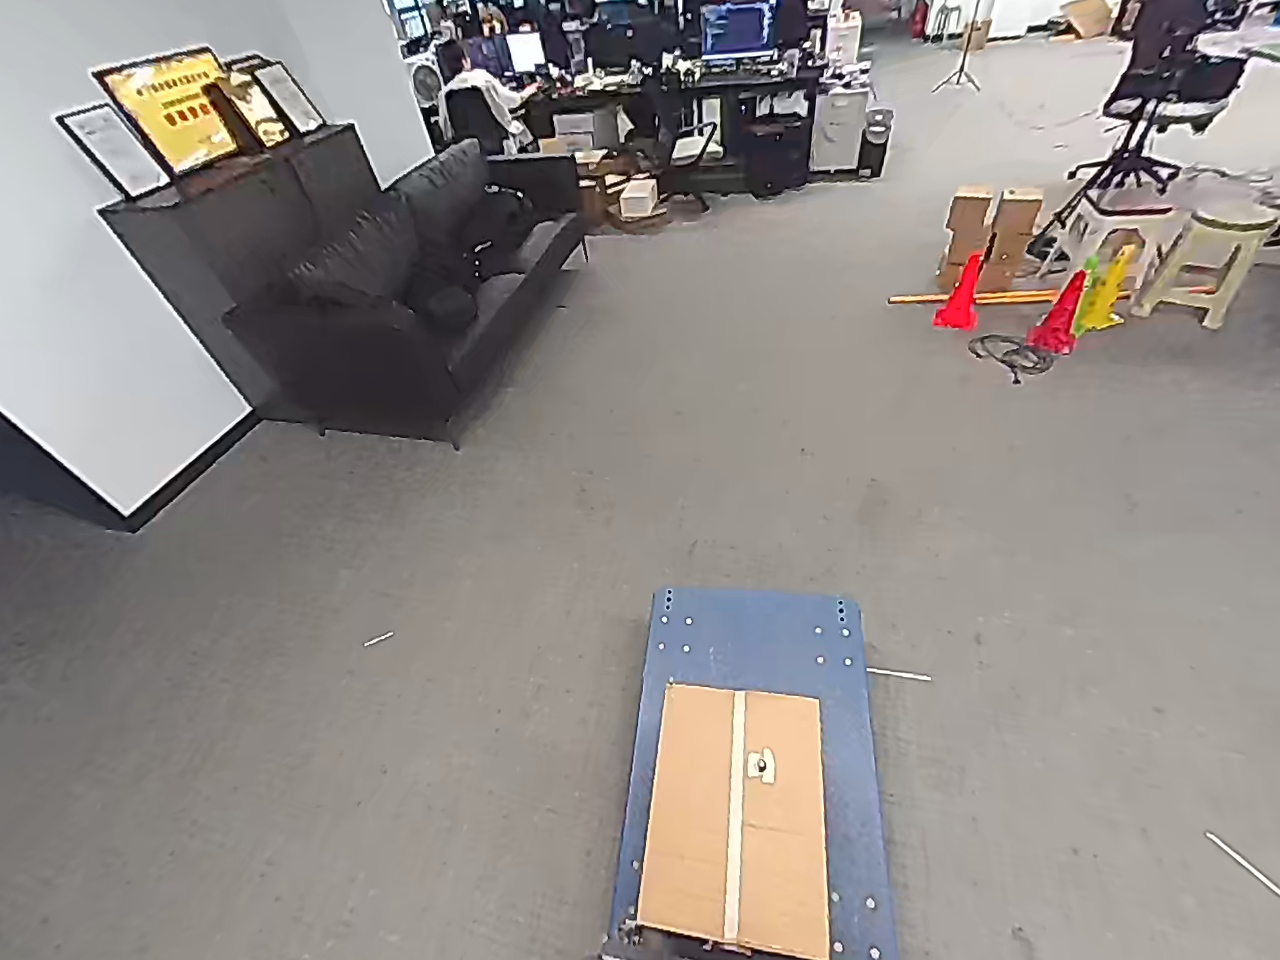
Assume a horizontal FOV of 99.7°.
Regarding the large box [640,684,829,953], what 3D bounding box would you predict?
[{"bbox_3d":[0.196,0.683,1.113,0.320,0.320,0.408,2,52,11],"label":"large box"}]
